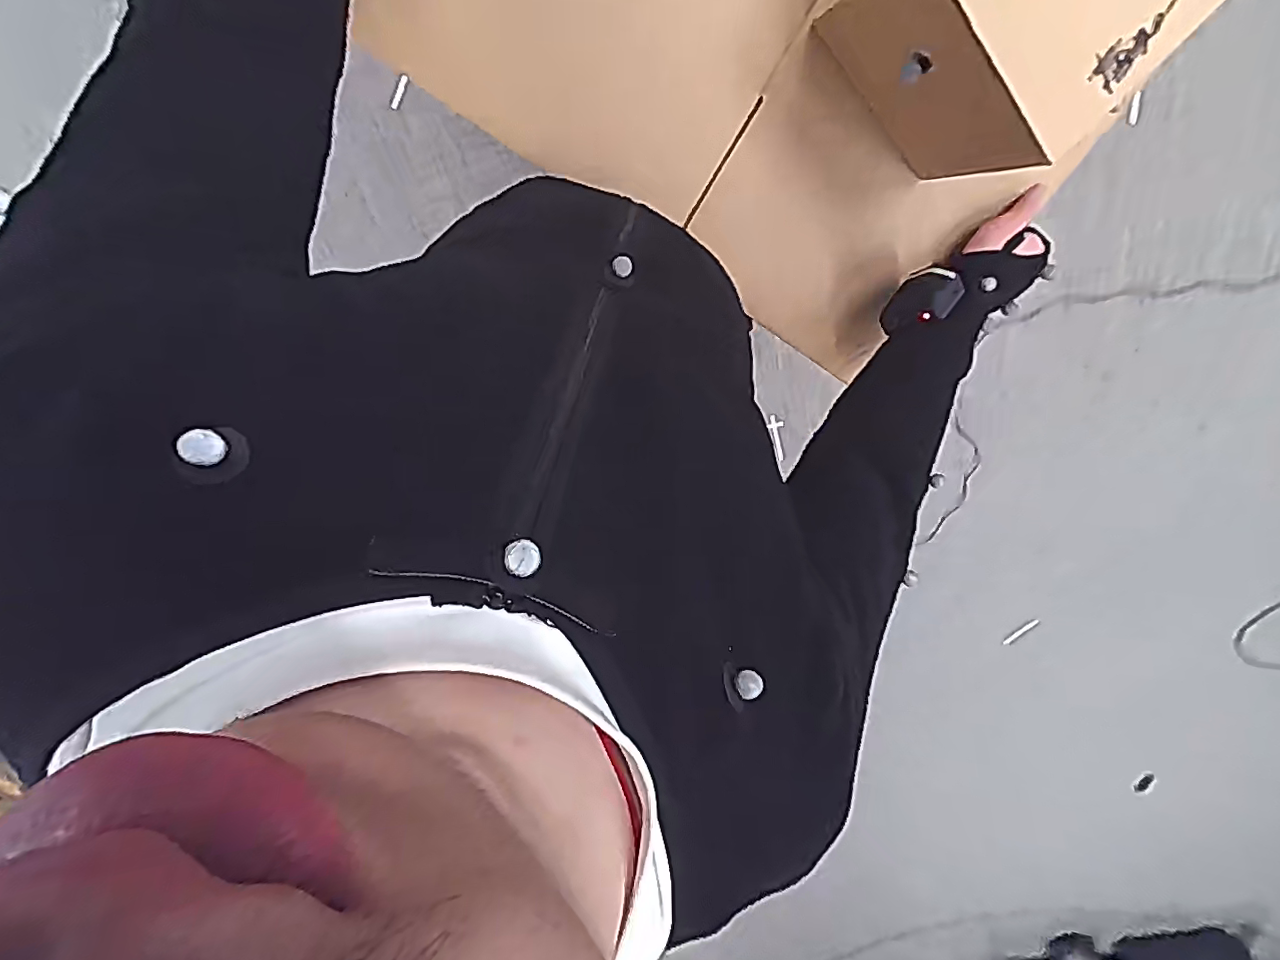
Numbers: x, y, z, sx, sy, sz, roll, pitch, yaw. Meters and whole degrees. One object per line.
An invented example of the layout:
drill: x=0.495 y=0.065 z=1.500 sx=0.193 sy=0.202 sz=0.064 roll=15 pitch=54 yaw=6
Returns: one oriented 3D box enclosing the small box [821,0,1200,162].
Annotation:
small box: x=0.269 y=-0.370 z=0.403 sx=0.179 sy=0.176 sz=0.168 roll=39 pitch=108 yaw=-19
